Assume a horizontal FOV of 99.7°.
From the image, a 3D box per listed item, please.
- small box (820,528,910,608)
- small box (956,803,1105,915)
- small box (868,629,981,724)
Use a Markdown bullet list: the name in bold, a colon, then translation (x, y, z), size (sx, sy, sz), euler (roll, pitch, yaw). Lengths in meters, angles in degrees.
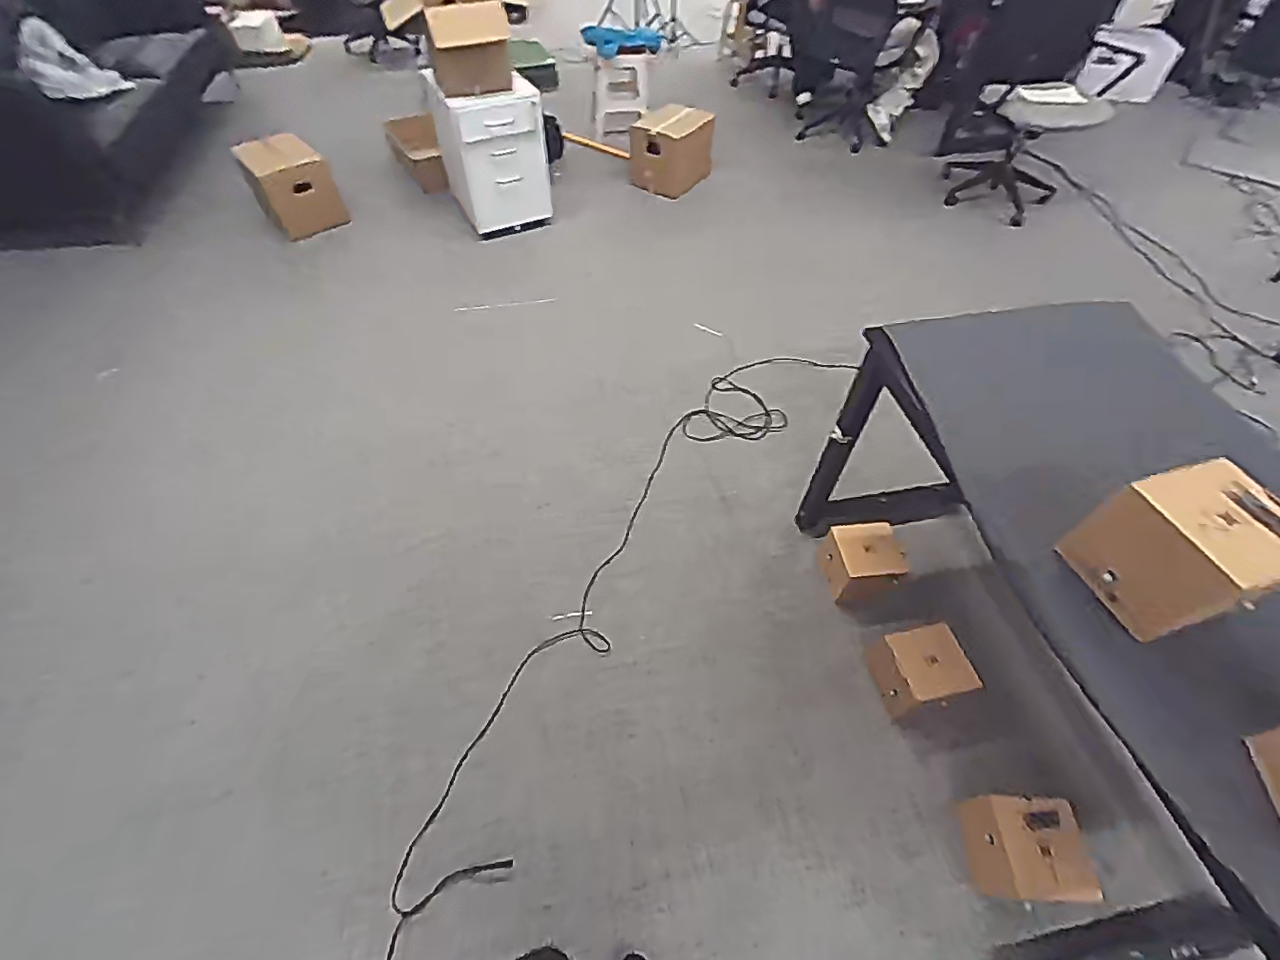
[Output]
- **small box**: translation (0.638, 0.258, 1.564), size (0.179, 0.176, 0.168), euler (-4, 52, -5)
- **small box**: translation (0.805, 0.799, 1.141), size (0.168, 0.176, 0.179), euler (3, 53, 1)
- **small box**: translation (0.705, 0.503, 1.371), size (0.179, 0.176, 0.168), euler (-9, 53, -9)
